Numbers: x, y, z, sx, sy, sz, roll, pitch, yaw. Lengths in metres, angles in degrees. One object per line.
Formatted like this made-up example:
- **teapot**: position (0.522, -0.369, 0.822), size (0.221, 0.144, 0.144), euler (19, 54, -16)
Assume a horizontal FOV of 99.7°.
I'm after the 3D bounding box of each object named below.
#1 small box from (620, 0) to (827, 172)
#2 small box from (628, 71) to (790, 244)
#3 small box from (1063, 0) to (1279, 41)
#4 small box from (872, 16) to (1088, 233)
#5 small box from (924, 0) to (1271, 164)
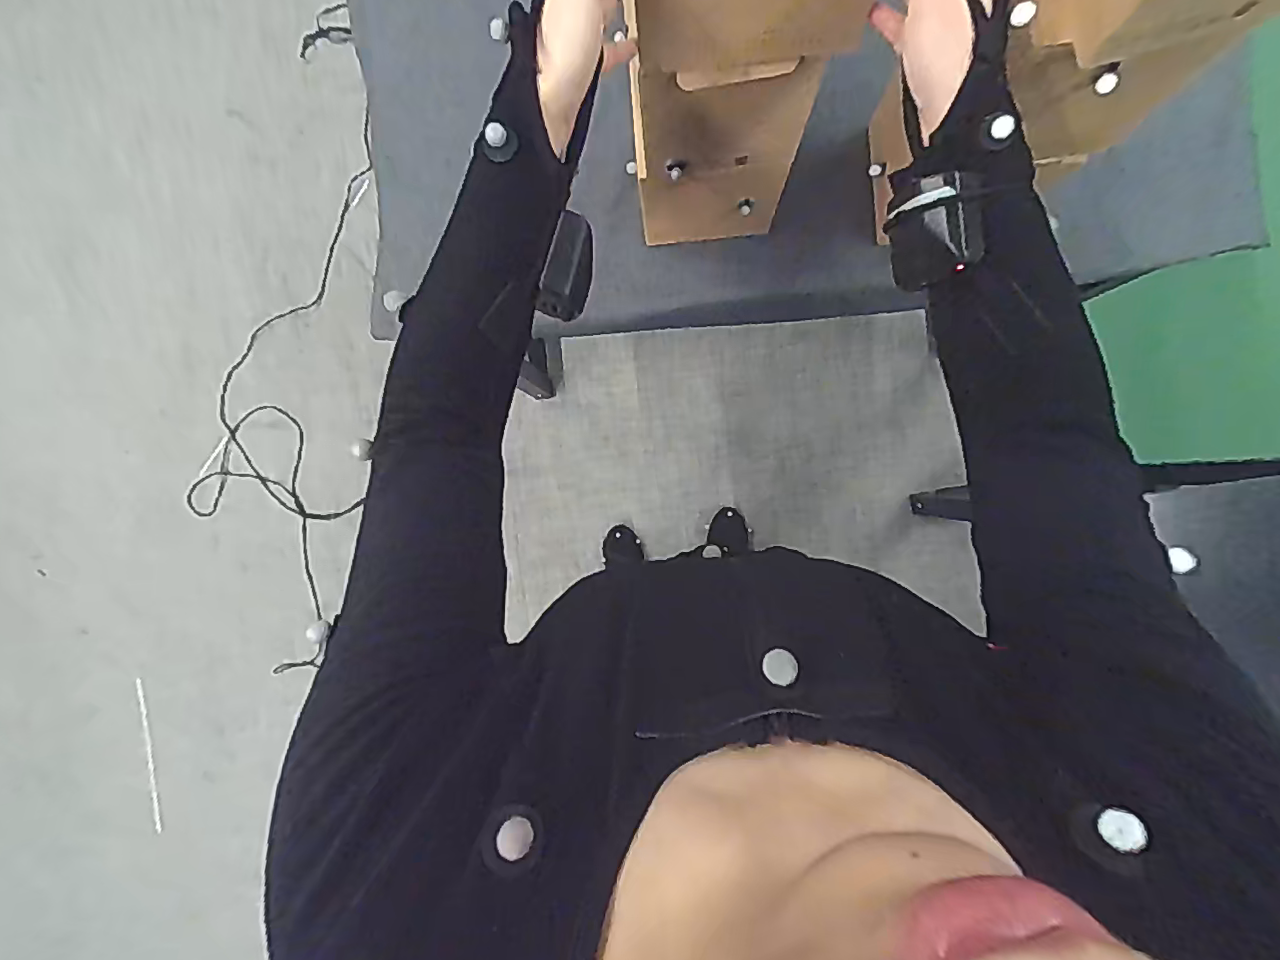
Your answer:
- **small box**: position (0.069, -0.430, 0.524), size (0.168, 0.176, 0.179), euler (-8, 87, 4)
- **small box**: position (0.082, -0.424, 0.688), size (0.179, 0.176, 0.168), euler (-5, 88, 6)
- **small box**: position (0.388, -0.422, 0.332), size (0.168, 0.176, 0.179), euler (-14, 87, 4)
- **small box**: position (0.397, -0.421, 0.660), size (0.168, 0.176, 0.179), euler (-4, 89, 5)
- **small box**: position (0.393, -0.427, 0.497), size (0.179, 0.176, 0.168), euler (-6, 88, 6)
